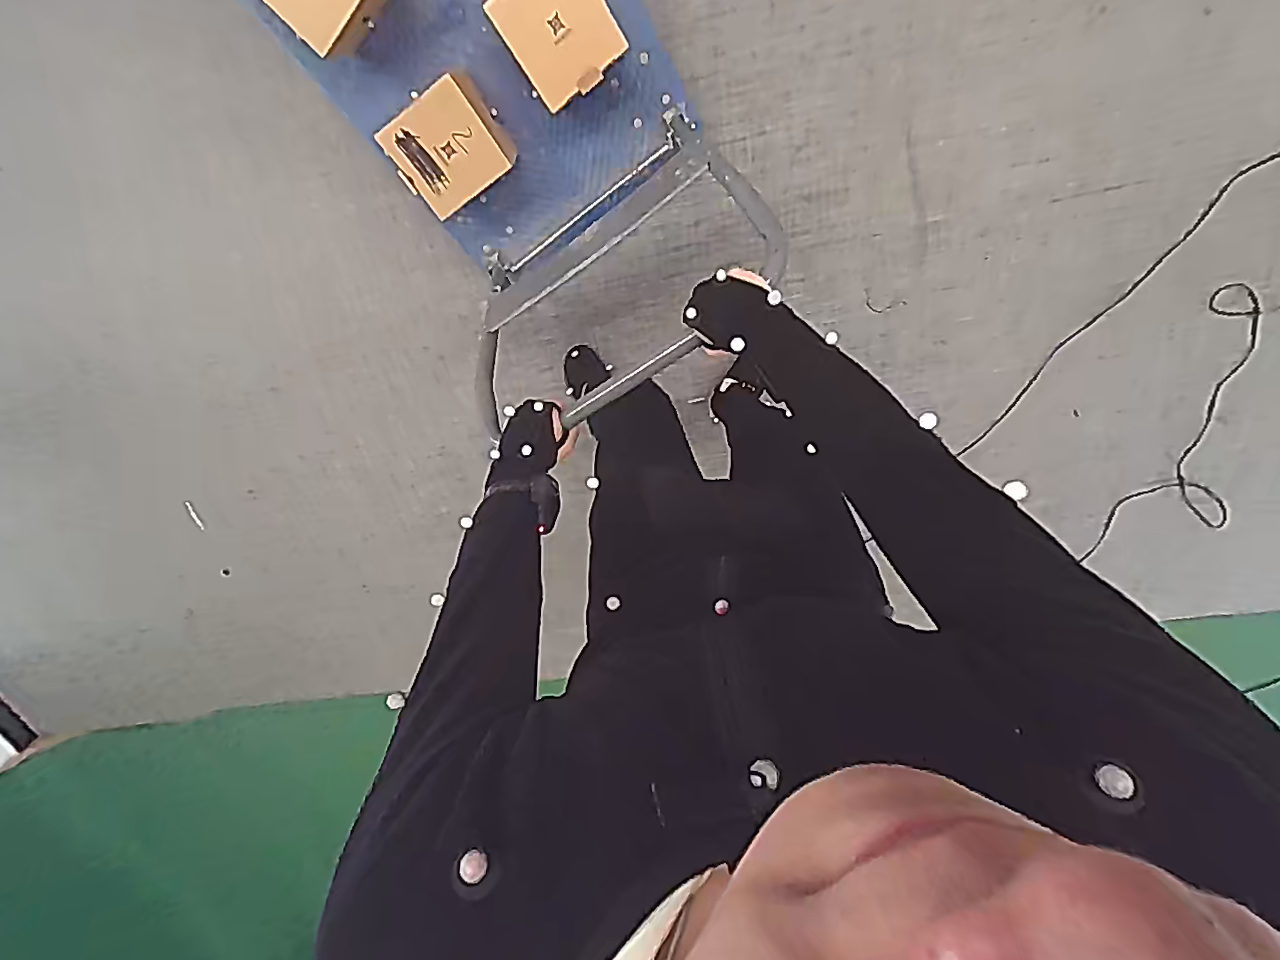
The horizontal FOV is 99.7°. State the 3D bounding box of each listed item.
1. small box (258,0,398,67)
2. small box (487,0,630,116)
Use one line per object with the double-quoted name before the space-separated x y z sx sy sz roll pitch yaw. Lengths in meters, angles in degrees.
"small box" -0.509 -0.808 0.859 0.168 0.176 0.179 -37 124 21
"small box" -0.139 -0.776 0.937 0.168 0.176 0.179 -31 127 18
